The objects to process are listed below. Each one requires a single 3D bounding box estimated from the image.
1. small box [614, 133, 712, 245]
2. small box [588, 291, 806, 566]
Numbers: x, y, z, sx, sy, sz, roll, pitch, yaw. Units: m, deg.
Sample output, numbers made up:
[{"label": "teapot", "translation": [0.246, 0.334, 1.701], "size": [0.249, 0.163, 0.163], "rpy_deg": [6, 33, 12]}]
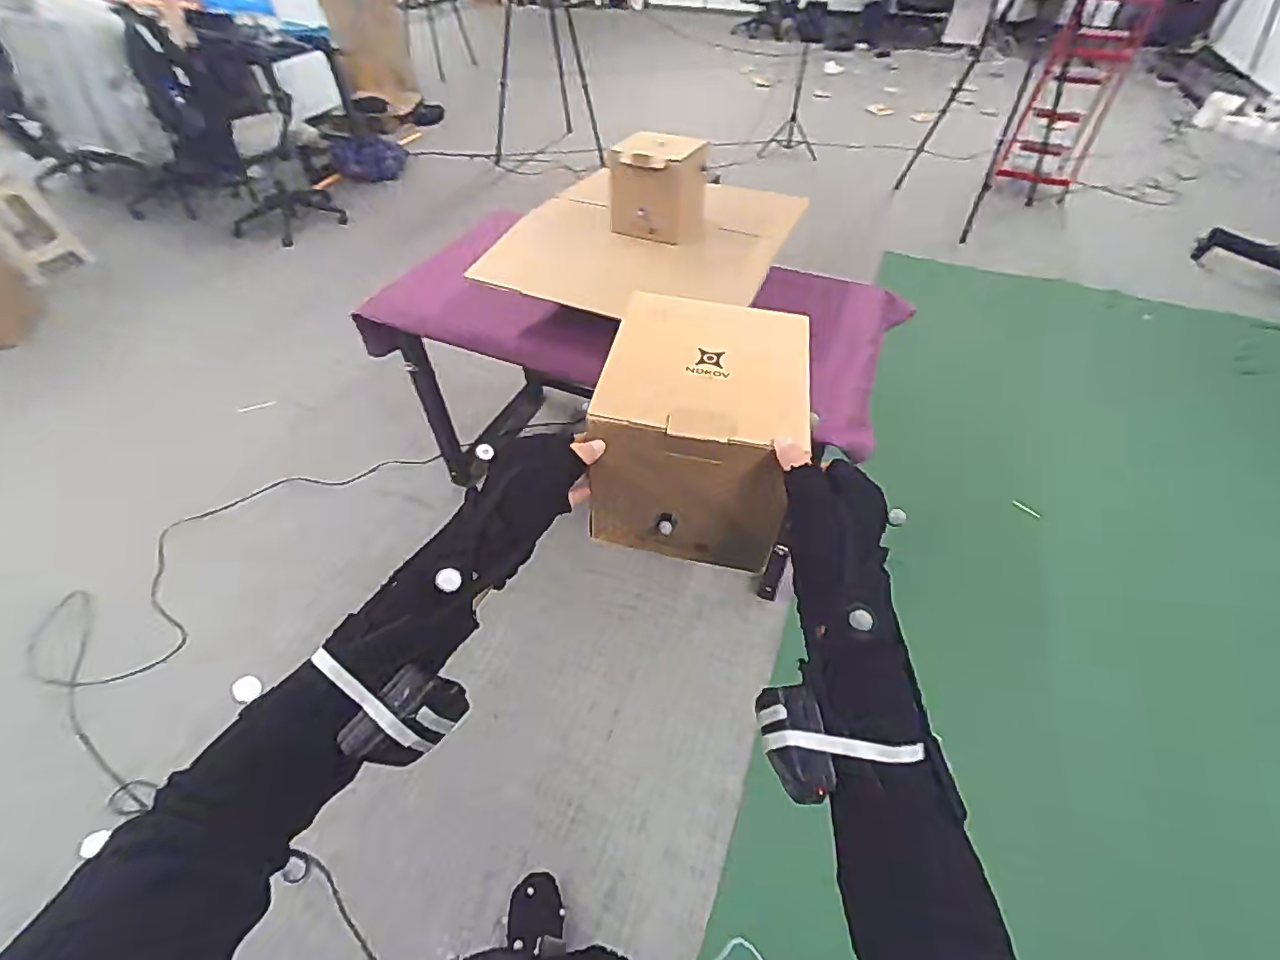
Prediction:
[{"label": "small box", "translation": [0.049, -0.659, 1.224], "size": [0.168, 0.176, 0.179], "rpy_deg": [20, 50, 16]}, {"label": "small box", "translation": [0.049, -0.047, 0.508], "size": [0.168, 0.176, 0.179], "rpy_deg": [10, 51, 4]}]
